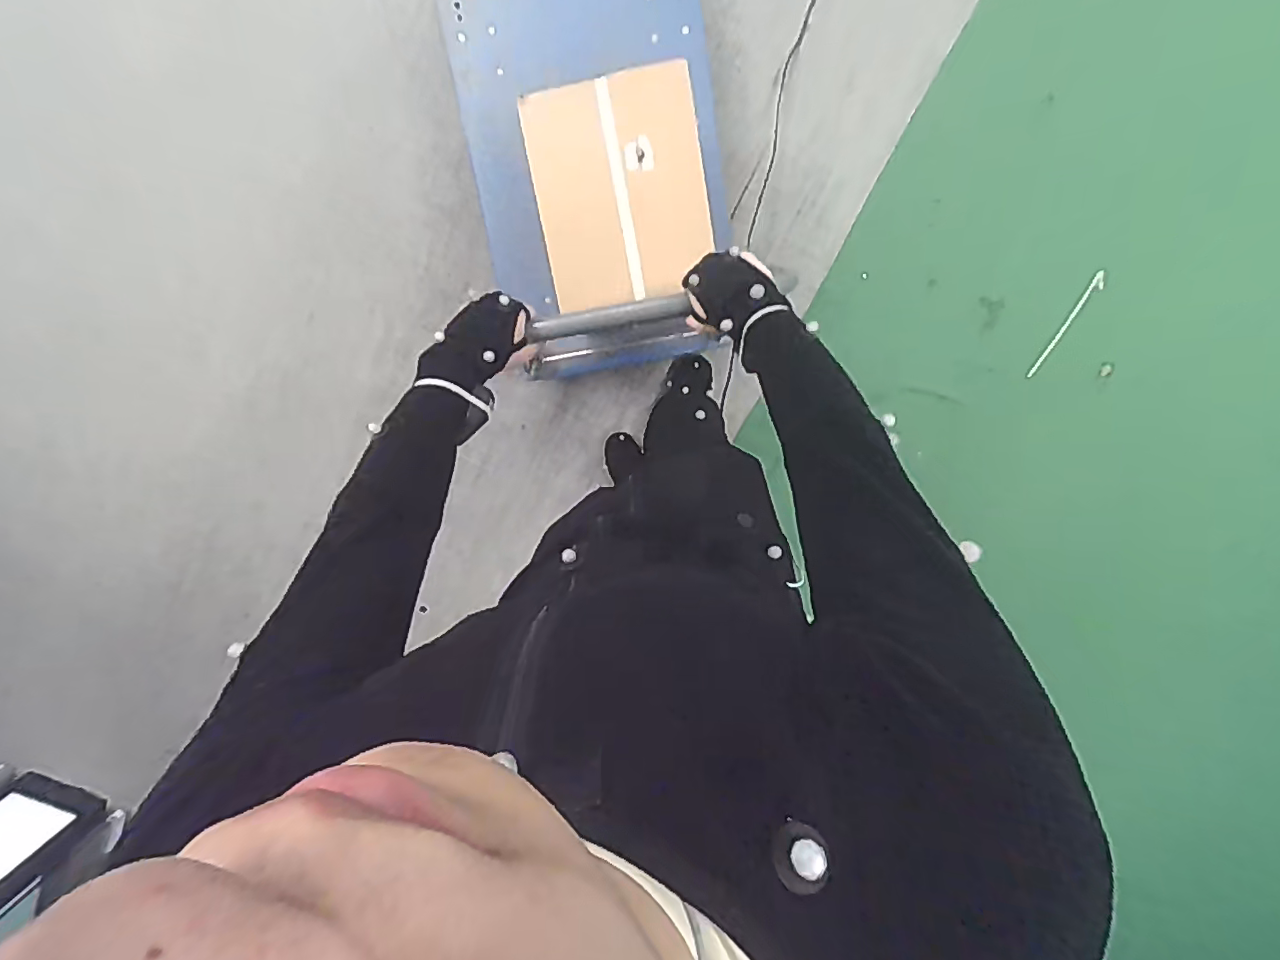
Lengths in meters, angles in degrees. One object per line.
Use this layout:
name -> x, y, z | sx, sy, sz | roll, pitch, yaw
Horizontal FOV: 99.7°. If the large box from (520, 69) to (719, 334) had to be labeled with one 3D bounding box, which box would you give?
large box -> -0.028, -0.553, 1.166 | 0.320, 0.320, 0.408 | -10, 102, 3
